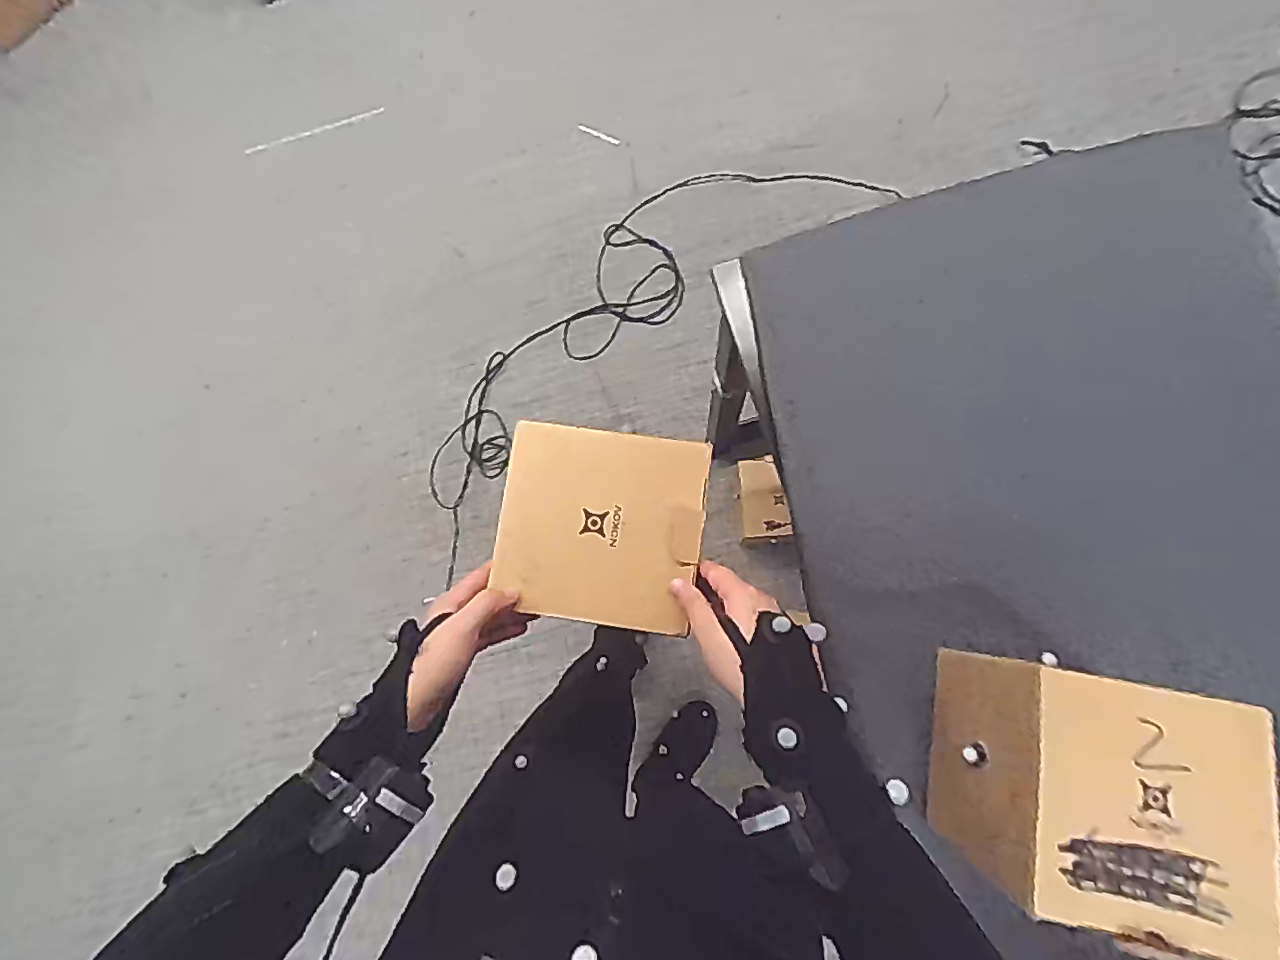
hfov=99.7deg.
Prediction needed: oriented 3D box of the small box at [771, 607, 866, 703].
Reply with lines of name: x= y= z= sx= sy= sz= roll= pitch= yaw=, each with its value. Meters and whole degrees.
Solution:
small box: x=0.386 y=0.376 z=1.187 sx=0.168 sy=0.176 sz=0.179 roll=5 pitch=77 yaw=5

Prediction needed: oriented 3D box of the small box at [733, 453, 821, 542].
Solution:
small box: x=0.313 y=0.045 z=1.266 sx=0.168 sy=0.176 sz=0.179 roll=-3 pitch=77 yaw=4

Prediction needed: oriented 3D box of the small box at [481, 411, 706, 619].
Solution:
small box: x=-0.035 y=0.042 z=0.541 sx=0.179 sy=0.176 sz=0.168 roll=7 pitch=80 yaw=3
